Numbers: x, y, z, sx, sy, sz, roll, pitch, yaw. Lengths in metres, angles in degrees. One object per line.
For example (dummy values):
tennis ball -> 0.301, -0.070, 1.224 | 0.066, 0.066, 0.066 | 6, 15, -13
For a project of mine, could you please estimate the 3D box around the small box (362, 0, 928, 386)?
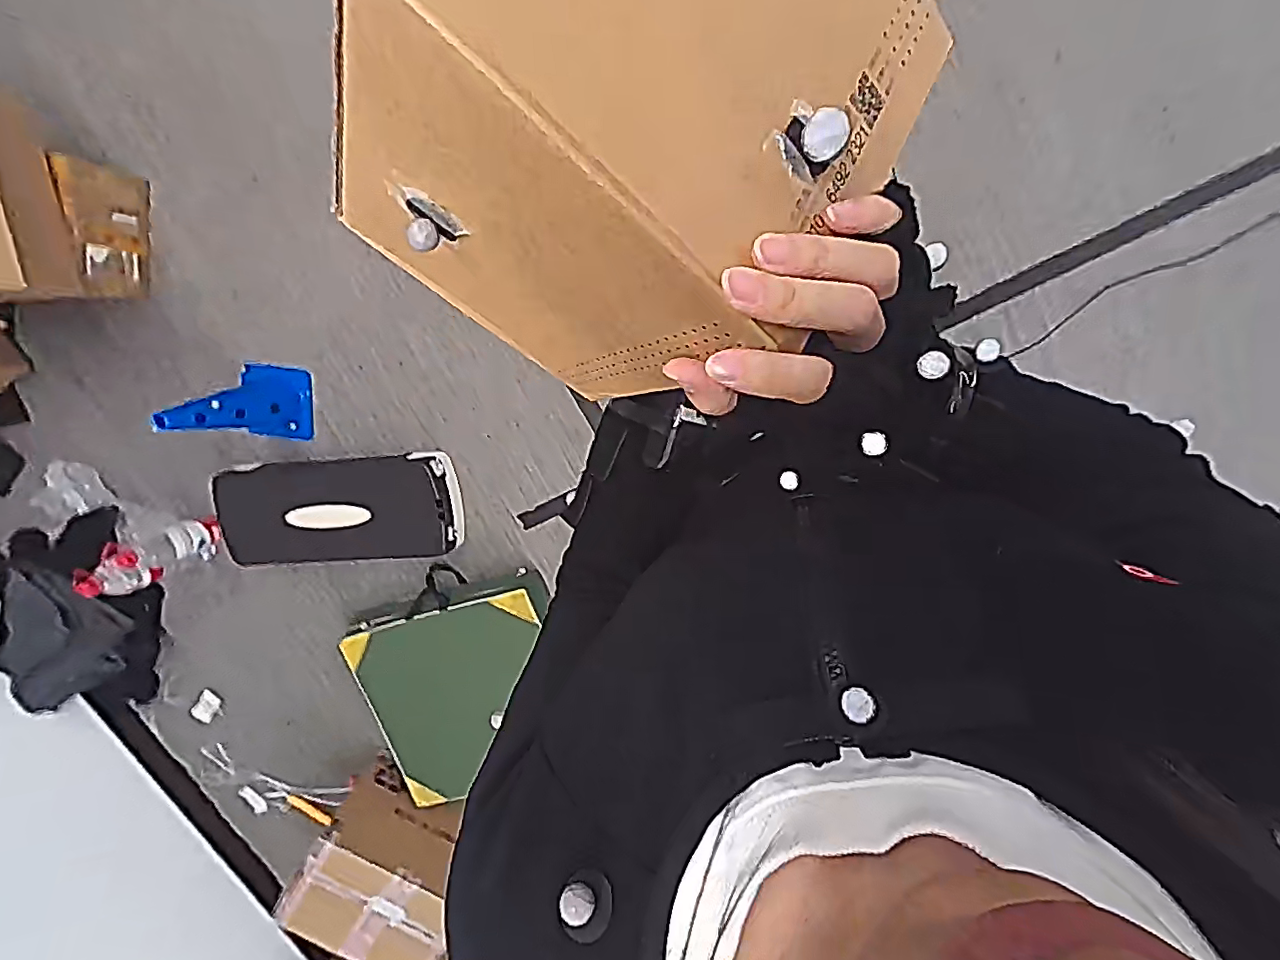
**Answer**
small box -> -0.006, -0.160, 0.262 | 0.176, 0.179, 0.168 | 33, 78, -28
